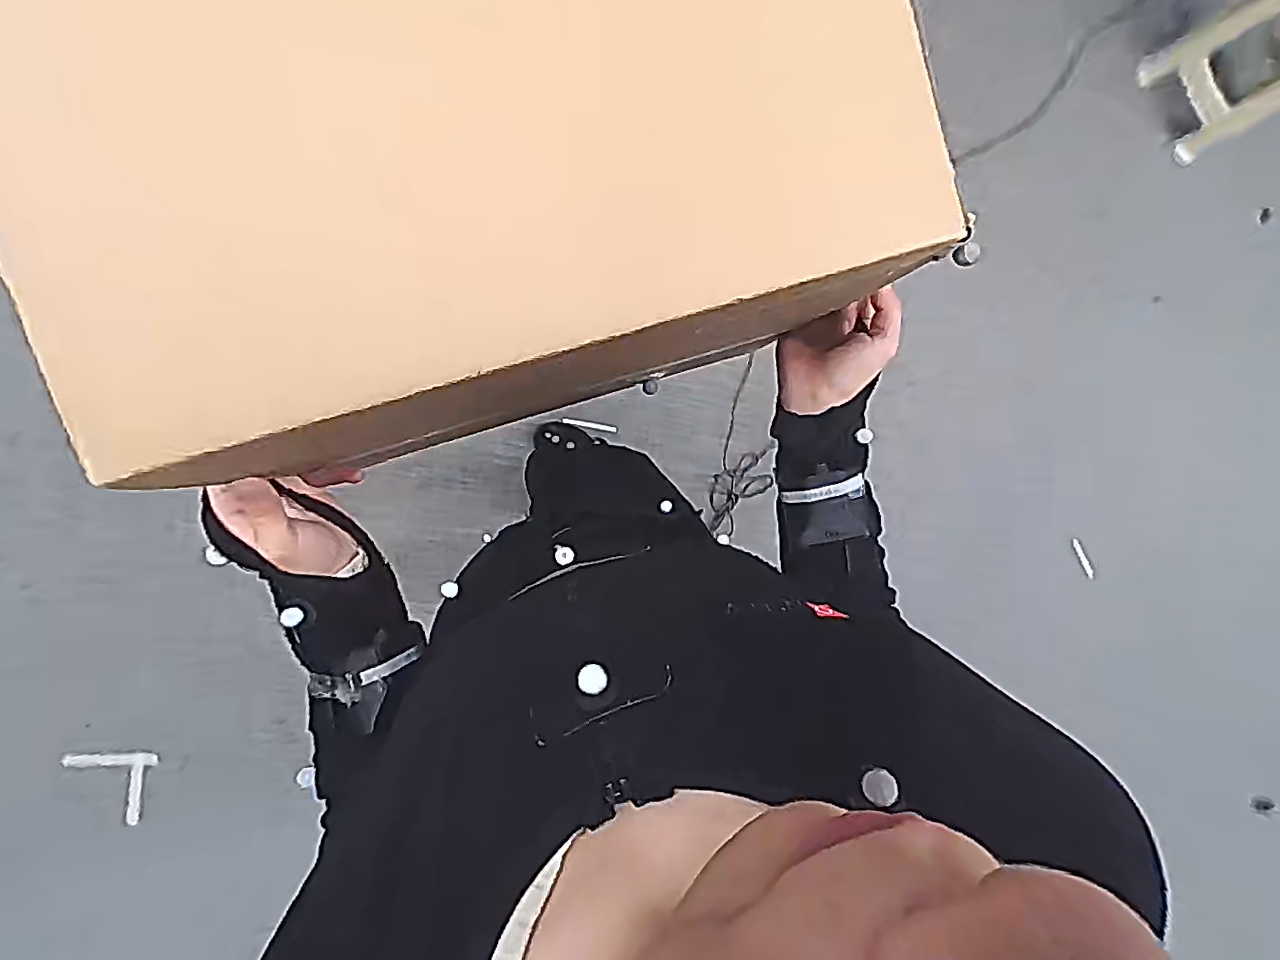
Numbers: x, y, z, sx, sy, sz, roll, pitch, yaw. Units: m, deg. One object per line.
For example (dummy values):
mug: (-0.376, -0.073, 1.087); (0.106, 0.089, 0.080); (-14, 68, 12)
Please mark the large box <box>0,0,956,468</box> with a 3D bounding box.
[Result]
large box: (-0.108, -0.221, 0.361); (0.408, 0.320, 0.320); (-20, 97, -8)
